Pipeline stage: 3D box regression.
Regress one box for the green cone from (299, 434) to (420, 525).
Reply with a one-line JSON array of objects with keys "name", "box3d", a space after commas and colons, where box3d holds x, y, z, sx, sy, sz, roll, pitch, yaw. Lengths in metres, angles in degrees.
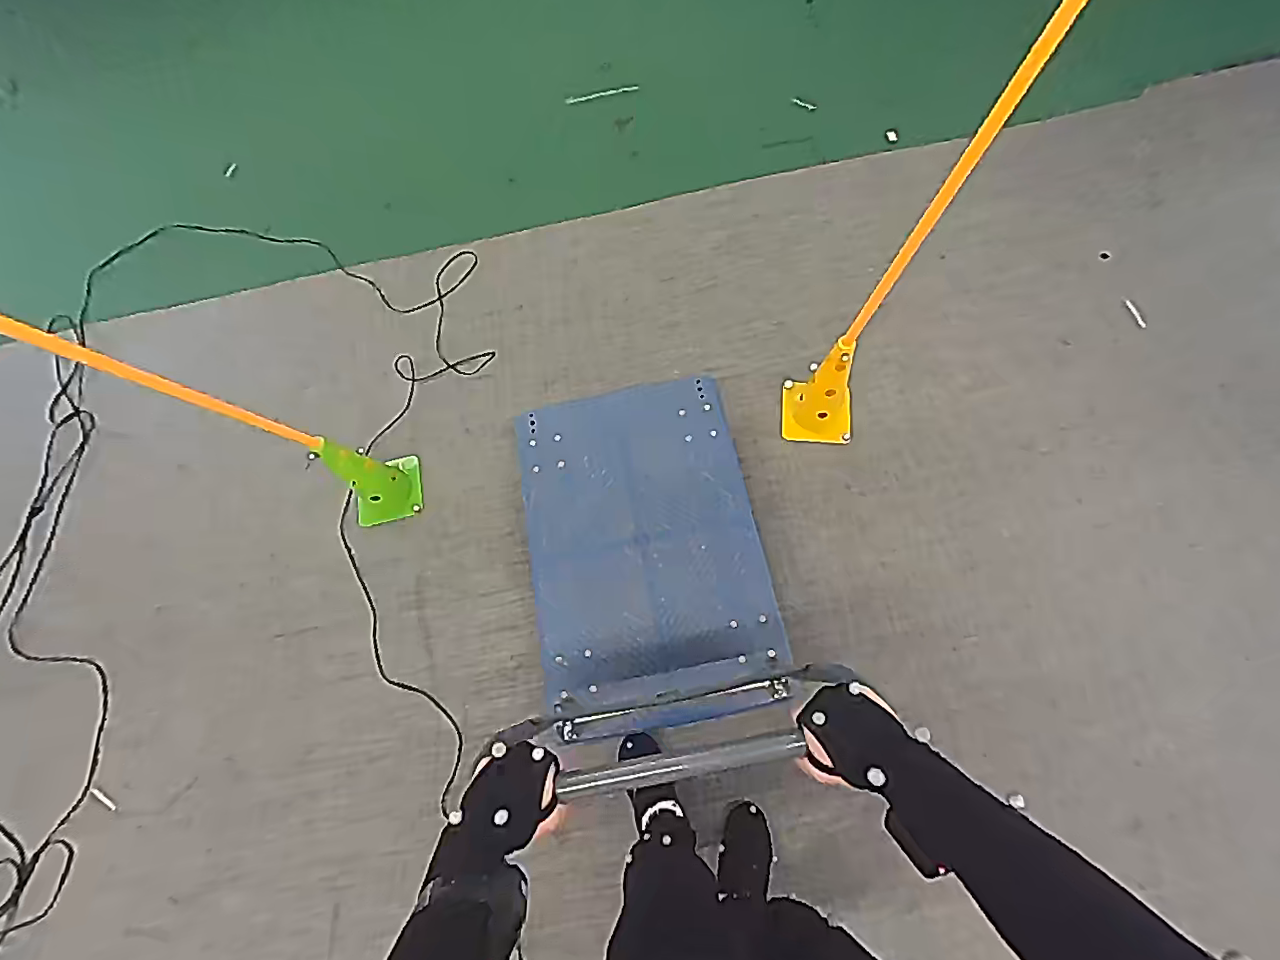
[{"name": "green cone", "box3d": [-0.798, -0.037, 1.500, 0.202, 0.368, 0.200, -16, 68, 1]}]
